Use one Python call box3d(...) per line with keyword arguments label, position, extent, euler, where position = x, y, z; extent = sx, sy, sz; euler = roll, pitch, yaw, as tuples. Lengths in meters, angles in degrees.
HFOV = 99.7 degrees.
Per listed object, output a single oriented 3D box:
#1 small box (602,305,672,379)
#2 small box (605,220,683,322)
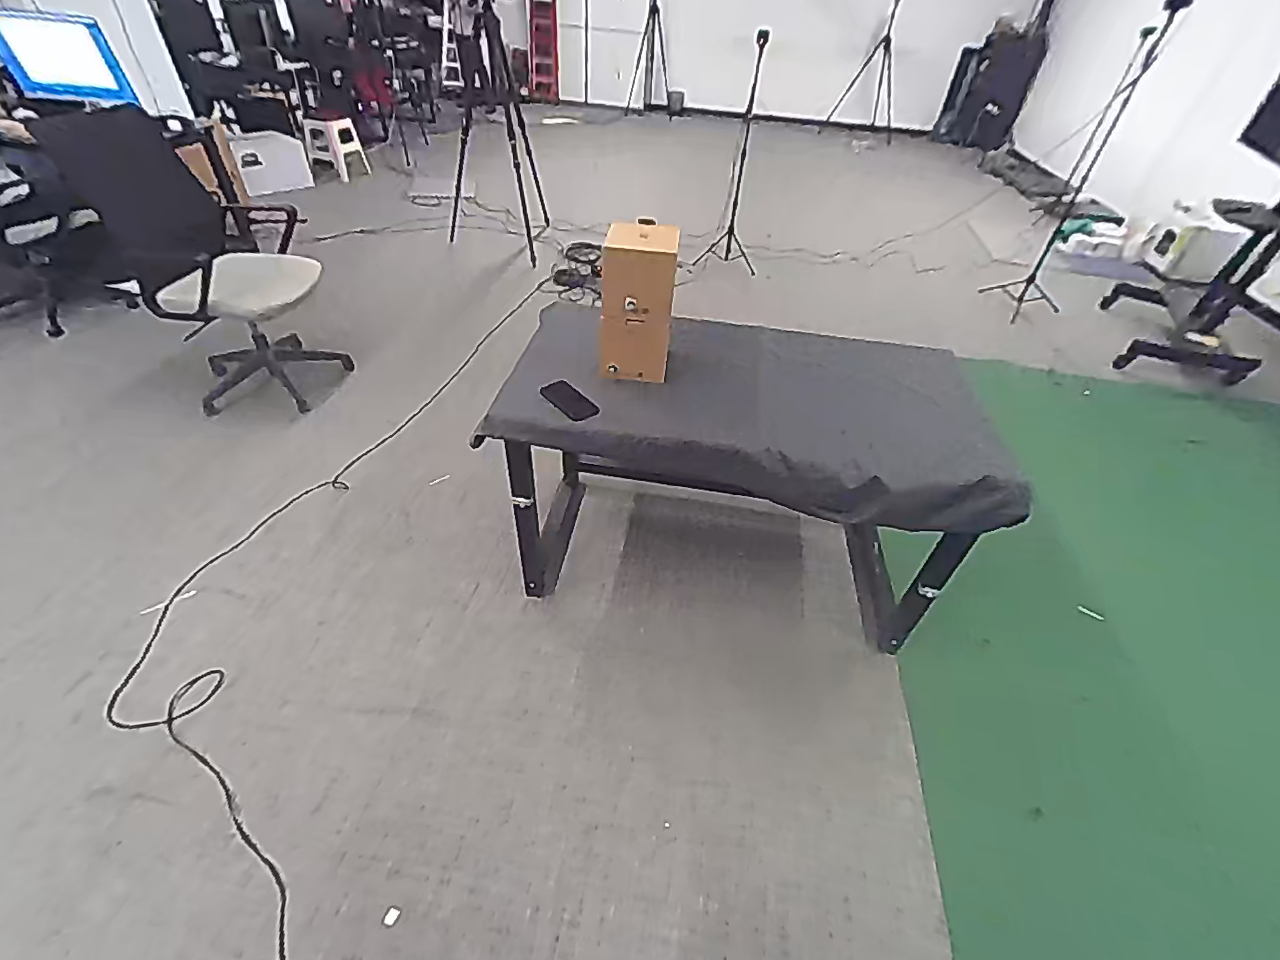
box3d(label="small box", position=(-0.005, -0.377, 1.392), extent=(0.168, 0.176, 0.179), euler=(7, 42, 1))
box3d(label="small box", position=(0.008, -0.496, 1.283), extent=(0.168, 0.176, 0.179), euler=(5, 44, 1))
